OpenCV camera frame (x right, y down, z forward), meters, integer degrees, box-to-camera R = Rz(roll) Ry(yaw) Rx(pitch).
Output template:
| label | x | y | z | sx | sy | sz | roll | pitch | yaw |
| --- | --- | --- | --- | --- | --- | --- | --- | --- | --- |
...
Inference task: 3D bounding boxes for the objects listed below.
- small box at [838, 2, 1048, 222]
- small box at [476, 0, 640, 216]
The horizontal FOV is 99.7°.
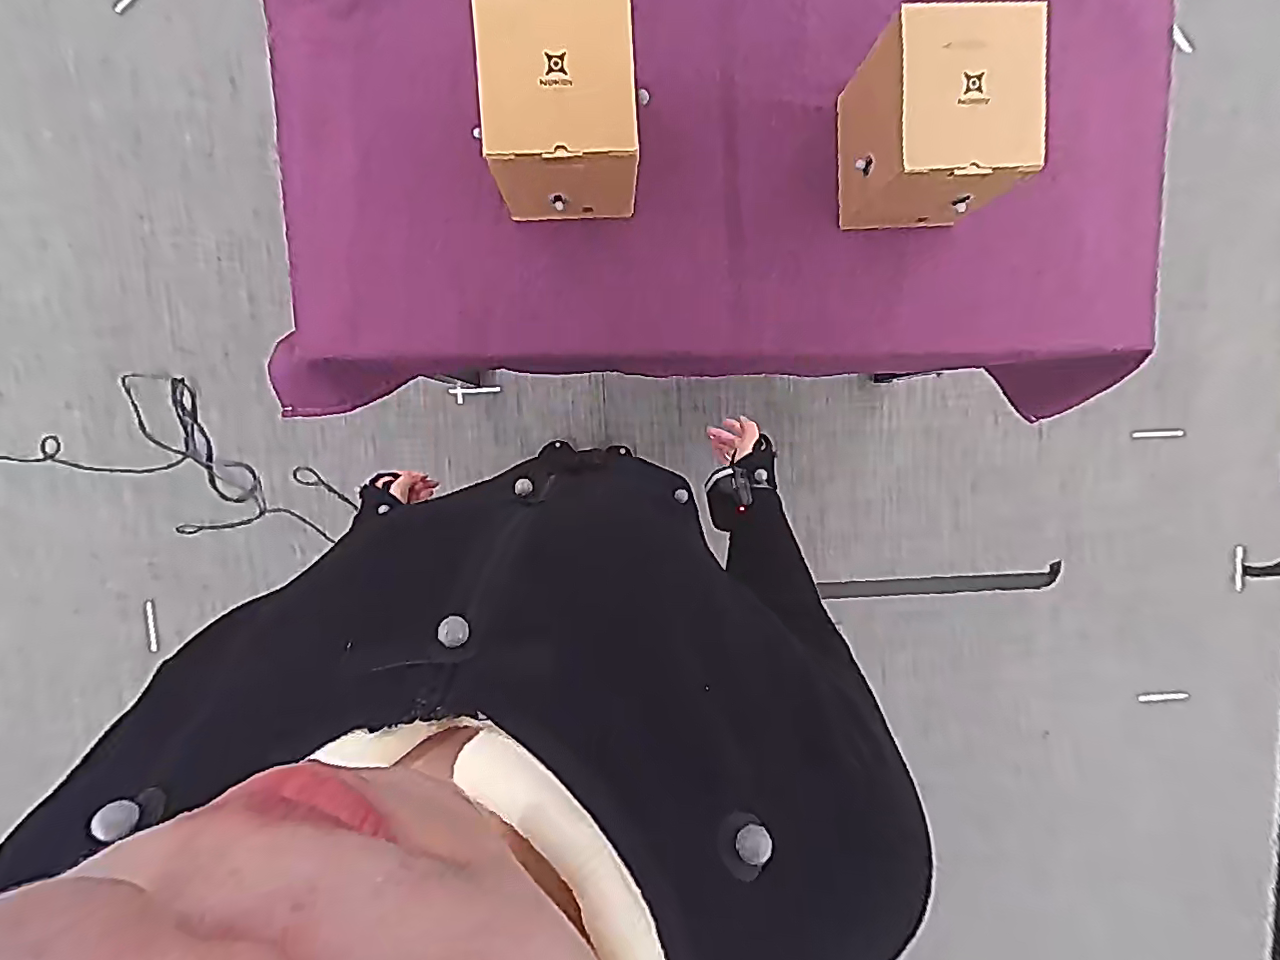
| label | x | y | z | sx | sy | sz | roll | pitch | yaw |
| --- | --- | --- | --- | --- | --- | --- | --- | --- | --- |
| small box | 0.358 | -0.435 | 0.669 | 0.168 | 0.176 | 0.179 | -3 | 95 | -3 |
| small box | -0.091 | -0.439 | 0.645 | 0.168 | 0.176 | 0.179 | -4 | 96 | -3 |
